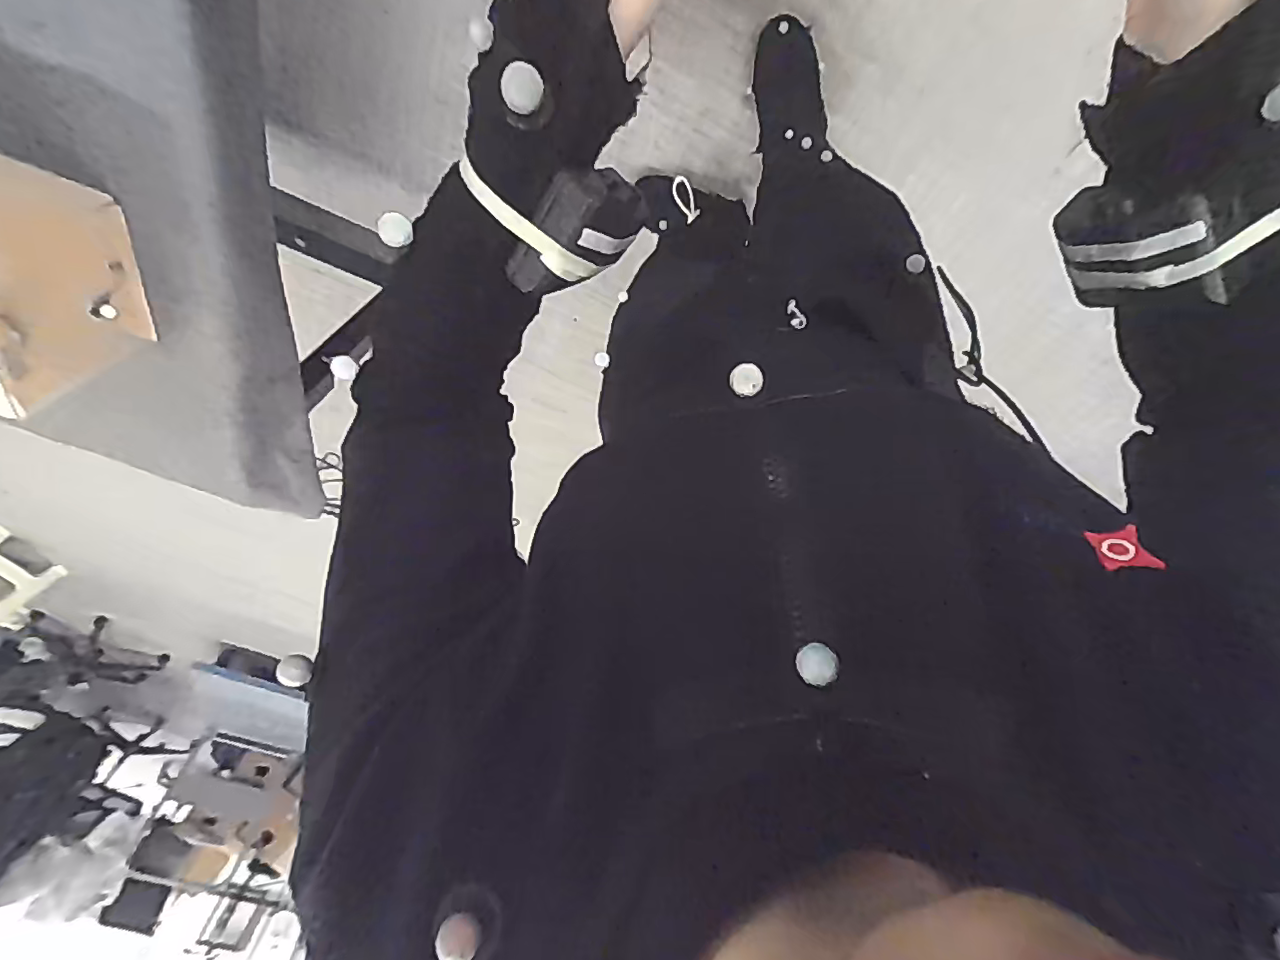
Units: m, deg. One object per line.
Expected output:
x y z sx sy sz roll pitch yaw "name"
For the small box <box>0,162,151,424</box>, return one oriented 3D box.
-0.623 -0.187 0.501 0.179 0.176 0.168 19 131 -9 "small box"
